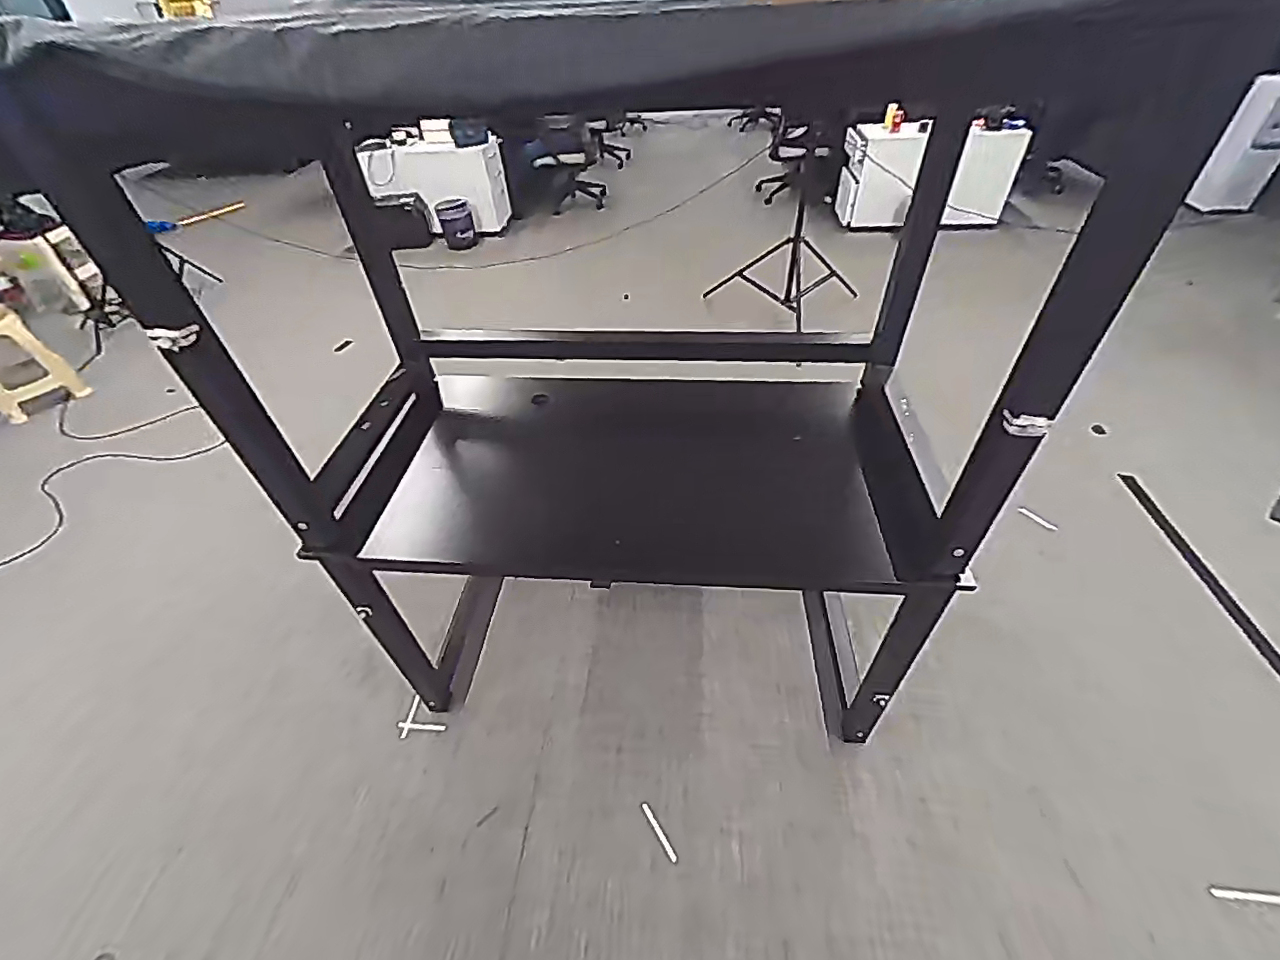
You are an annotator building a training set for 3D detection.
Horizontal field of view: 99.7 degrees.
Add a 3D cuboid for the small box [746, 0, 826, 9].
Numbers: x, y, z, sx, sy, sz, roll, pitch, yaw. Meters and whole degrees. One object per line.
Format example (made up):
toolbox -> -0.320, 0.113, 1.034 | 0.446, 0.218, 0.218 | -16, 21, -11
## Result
small box -> 0.181, -0.528, 0.469 | 0.168, 0.176, 0.179 | 5, 42, 9
